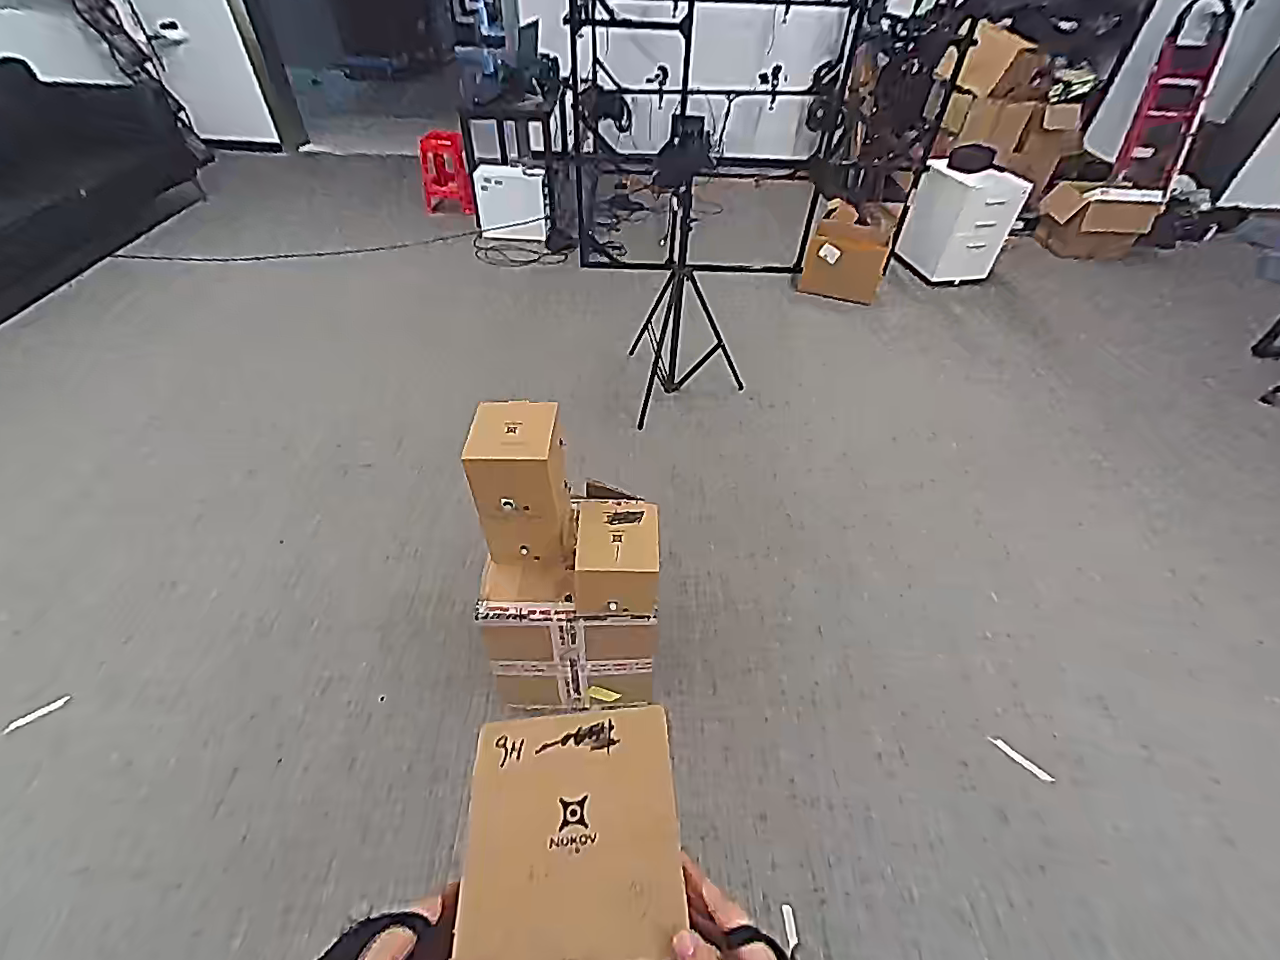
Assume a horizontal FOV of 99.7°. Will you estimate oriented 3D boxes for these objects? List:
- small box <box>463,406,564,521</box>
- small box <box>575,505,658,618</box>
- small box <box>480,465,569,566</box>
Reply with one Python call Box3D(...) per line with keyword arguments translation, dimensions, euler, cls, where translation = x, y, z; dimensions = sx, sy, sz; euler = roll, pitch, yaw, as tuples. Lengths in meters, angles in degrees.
Box3D(translation=(-0.252, -0.035, 1.127), dimensions=(0.168, 0.176, 0.179), euler=(0, 47, 0), cls="small box")
Box3D(translation=(-0.051, 0.175, 1.159), dimensions=(0.168, 0.176, 0.179), euler=(1, 47, -2), cls="small box")
Box3D(translation=(-0.256, 0.077, 1.244), dimensions=(0.168, 0.176, 0.179), euler=(0, 46, -1), cls="small box")
